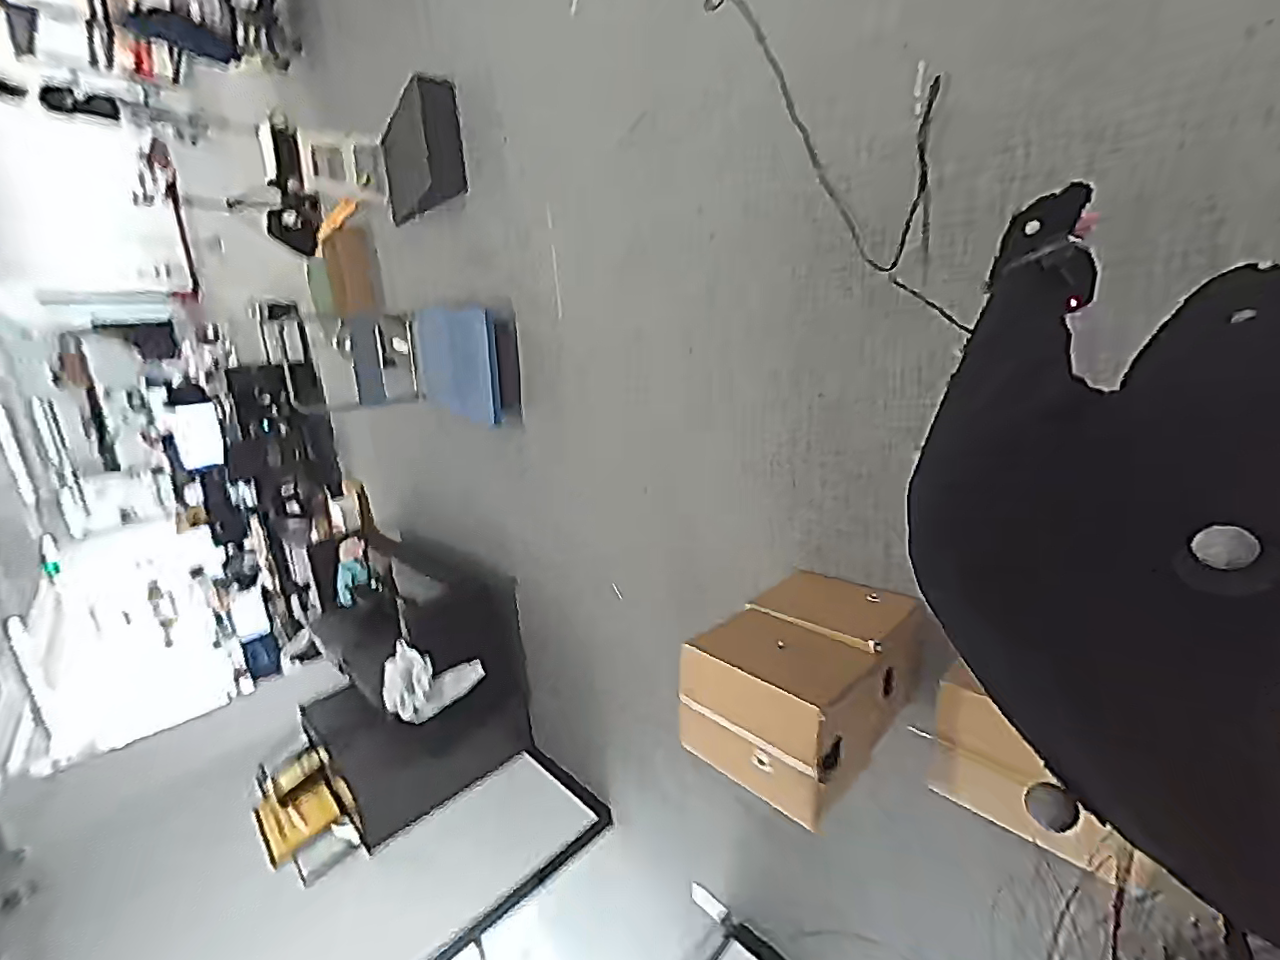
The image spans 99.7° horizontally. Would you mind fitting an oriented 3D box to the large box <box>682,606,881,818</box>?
[{"bbox_3d":[0.362,0.568,1.423,0.408,0.320,0.320,12,107,45],"label":"large box"}]
